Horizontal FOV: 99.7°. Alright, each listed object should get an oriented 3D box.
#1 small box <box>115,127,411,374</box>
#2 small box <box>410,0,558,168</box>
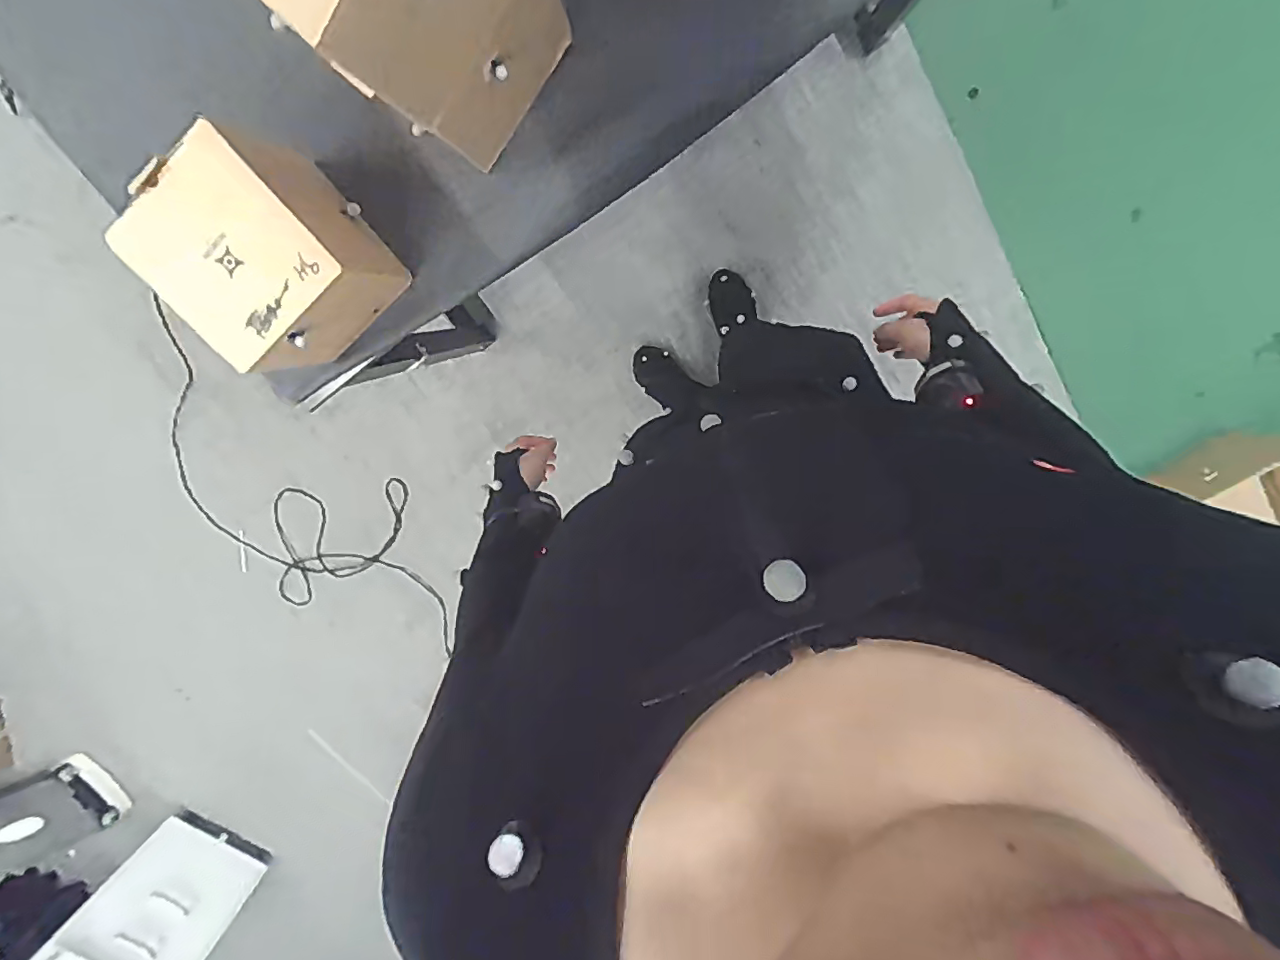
[{"bbox_3d":[-0.407,-0.244,0.616,0.168,0.176,0.179,-38,102,13],"label":"small box"},{"bbox_3d":[-0.201,-0.454,0.541,0.168,0.176,0.179,37,105,-9],"label":"small box"}]
